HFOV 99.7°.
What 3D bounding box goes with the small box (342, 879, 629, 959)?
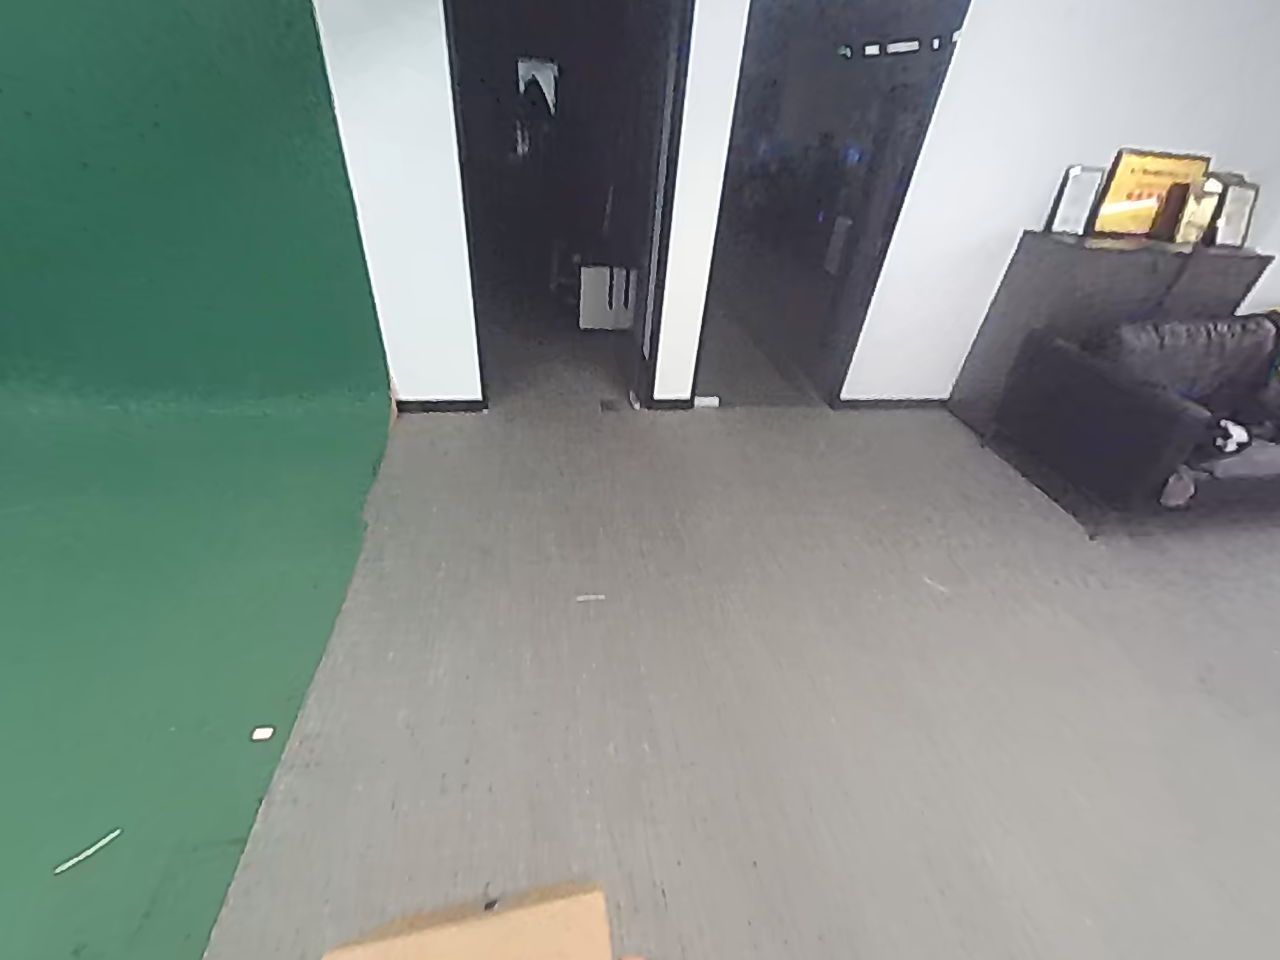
[{"bbox_3d":[-0.095,0.390,0.367,0.179,0.176,0.168,-4,58,-9],"label":"small box"}]
